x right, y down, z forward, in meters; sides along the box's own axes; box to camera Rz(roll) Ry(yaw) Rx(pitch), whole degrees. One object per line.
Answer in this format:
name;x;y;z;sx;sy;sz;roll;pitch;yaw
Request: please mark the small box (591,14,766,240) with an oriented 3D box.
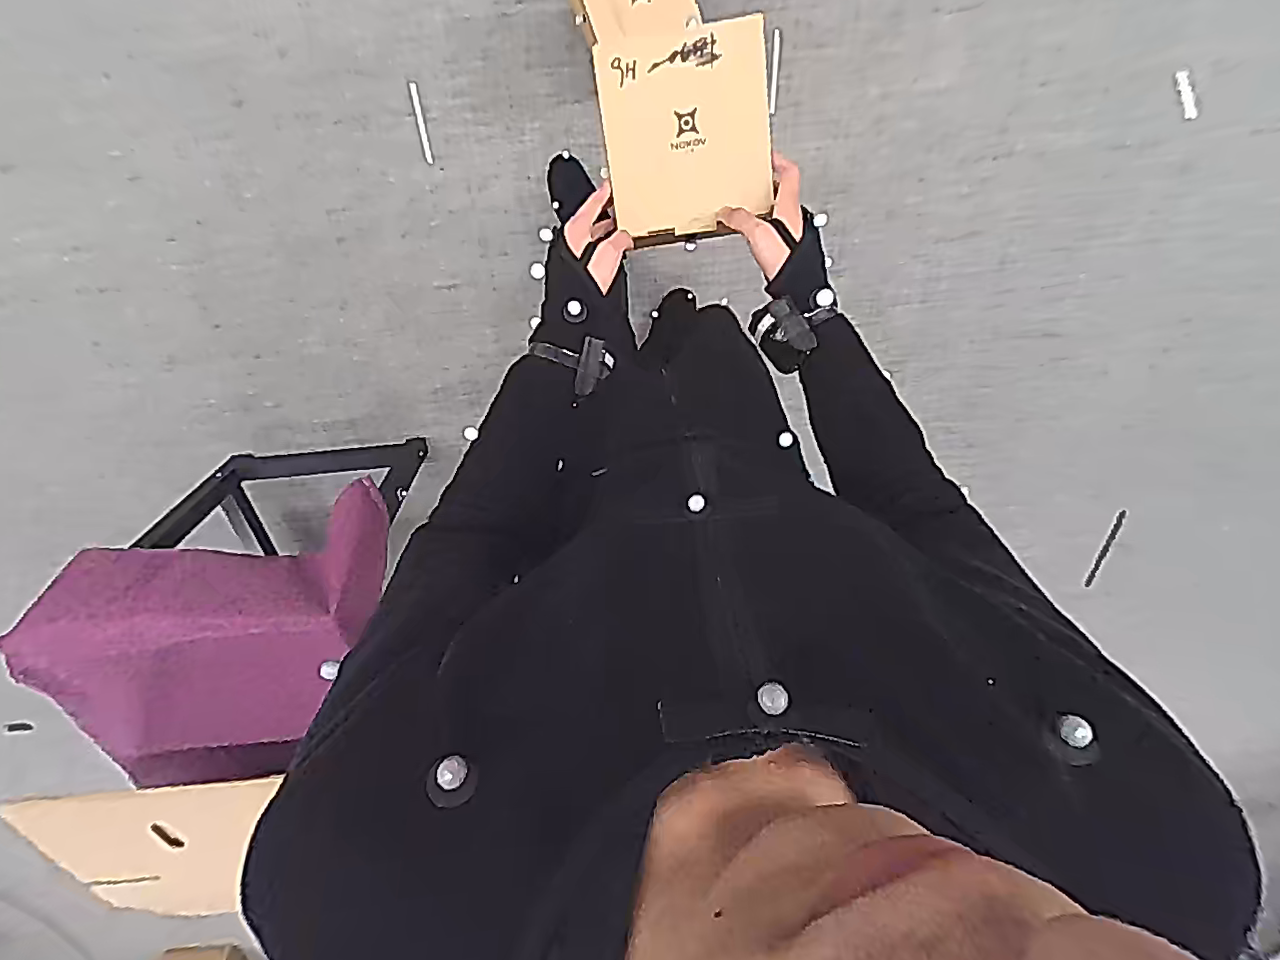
small box;0.046;-0.381;0.621;0.168;0.176;0.179;-7;109;4
